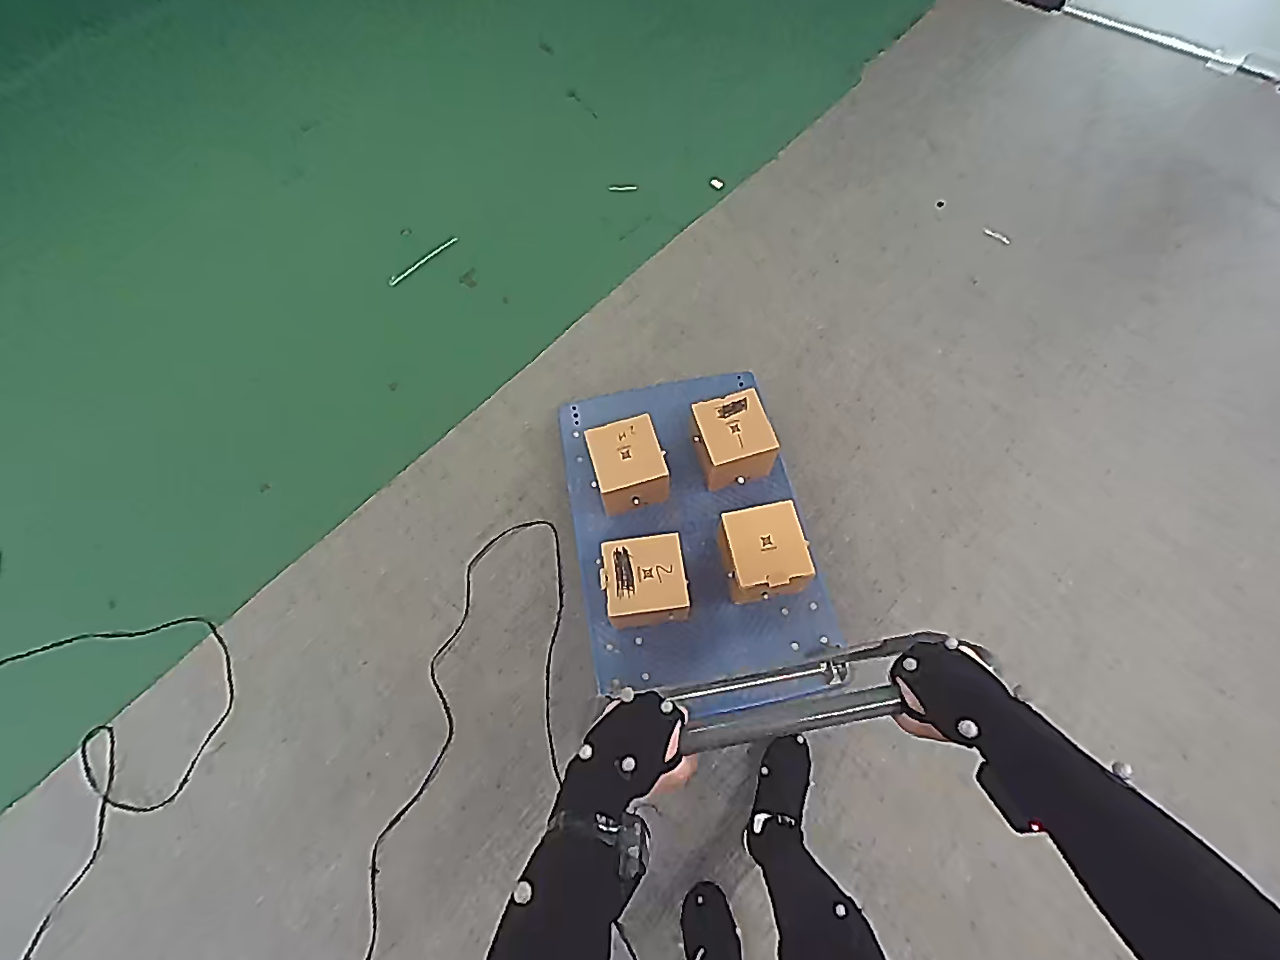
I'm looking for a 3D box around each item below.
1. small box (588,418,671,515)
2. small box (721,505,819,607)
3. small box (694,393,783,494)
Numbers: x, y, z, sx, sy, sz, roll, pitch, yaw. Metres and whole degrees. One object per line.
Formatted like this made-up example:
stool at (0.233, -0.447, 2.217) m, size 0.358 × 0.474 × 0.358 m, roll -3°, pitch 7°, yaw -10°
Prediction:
small box at (-0.022, -0.024, 1.355) m, size 0.168 × 0.176 × 0.179 m, roll -15°, pitch 66°, yaw -5°
small box at (0.288, 0.179, 1.247) m, size 0.168 × 0.176 × 0.179 m, roll -11°, pitch 66°, yaw -1°
small box at (0.239, -0.087, 1.369) m, size 0.168 × 0.176 × 0.179 m, roll -16°, pitch 67°, yaw -3°
